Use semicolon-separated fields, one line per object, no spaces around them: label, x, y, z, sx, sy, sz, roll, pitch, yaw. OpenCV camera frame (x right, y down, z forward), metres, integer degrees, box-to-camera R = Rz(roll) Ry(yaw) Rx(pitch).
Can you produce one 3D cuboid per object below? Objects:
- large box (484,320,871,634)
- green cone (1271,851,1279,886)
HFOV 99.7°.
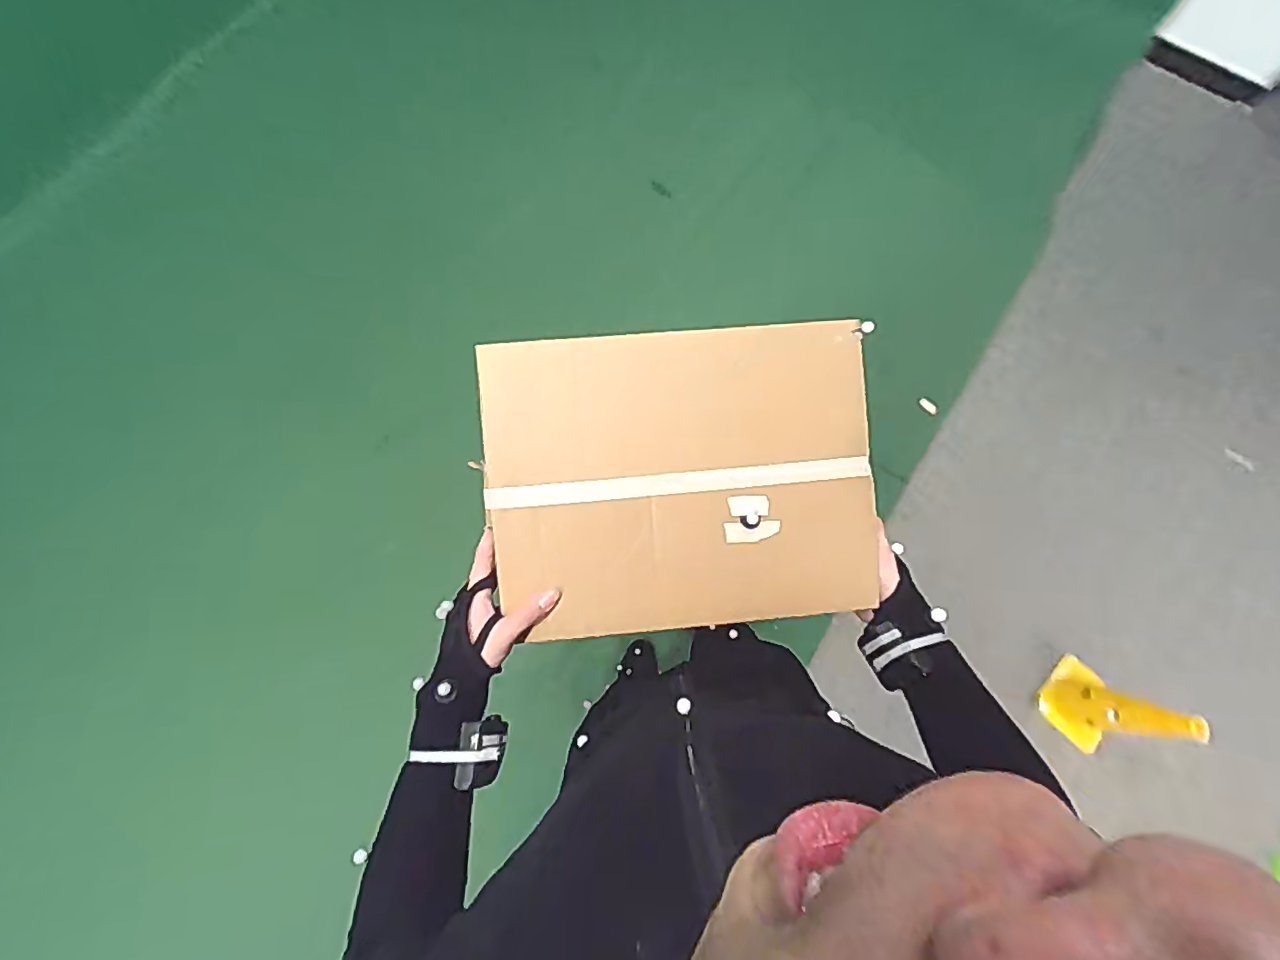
large box;0.035;-0.007;0.725;0.408;0.320;0.320;-4;92;-4
green cone;1.889;1.049;1.340;0.202;0.368;0.200;38;78;8
